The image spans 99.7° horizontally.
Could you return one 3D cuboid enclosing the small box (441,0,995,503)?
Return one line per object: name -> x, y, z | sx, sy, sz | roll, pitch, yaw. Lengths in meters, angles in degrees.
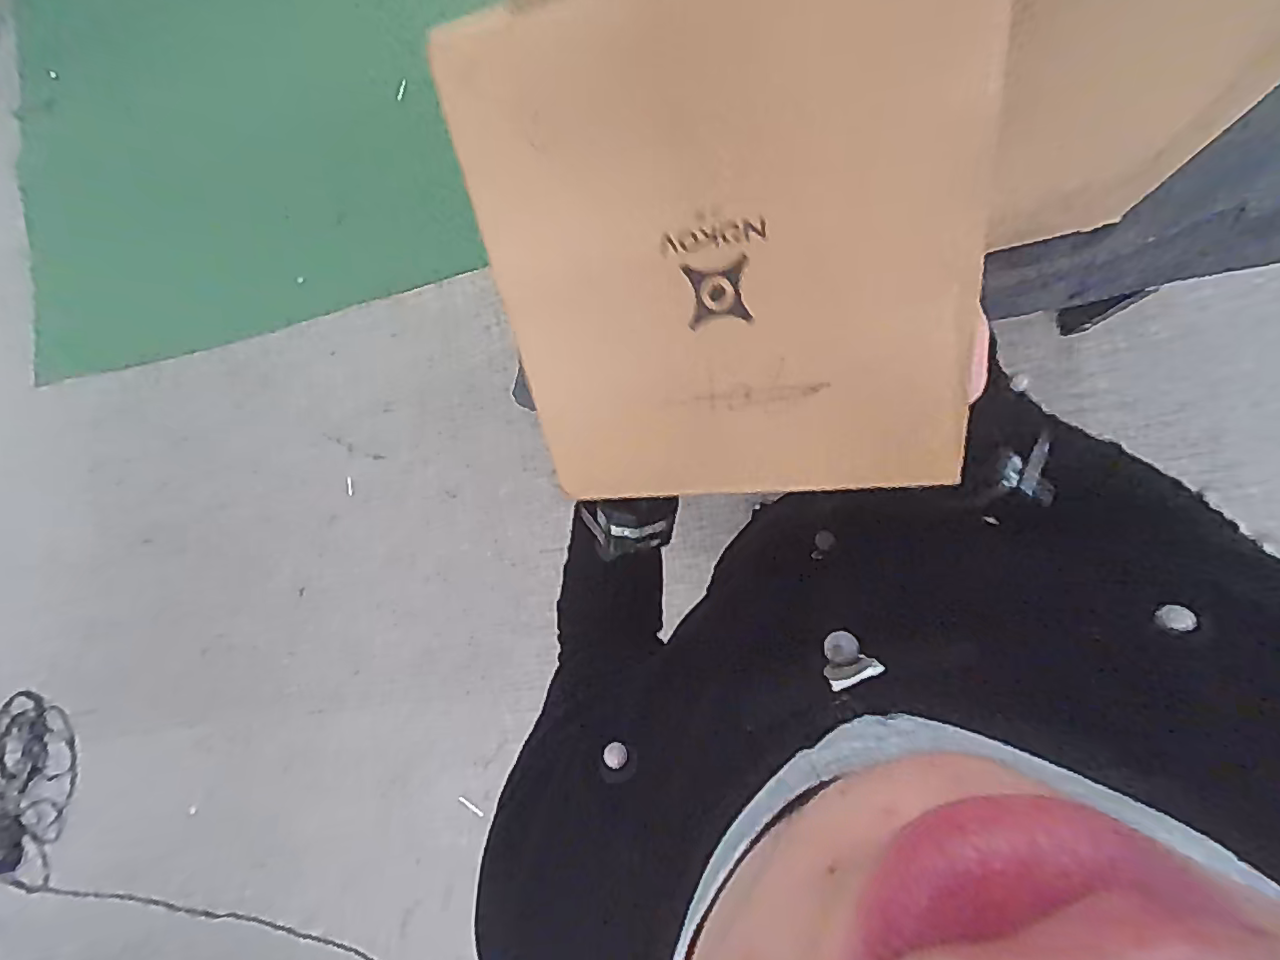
small box -> 0.046, -0.108, 0.259 | 0.168, 0.176, 0.179 | -3, 122, 19
